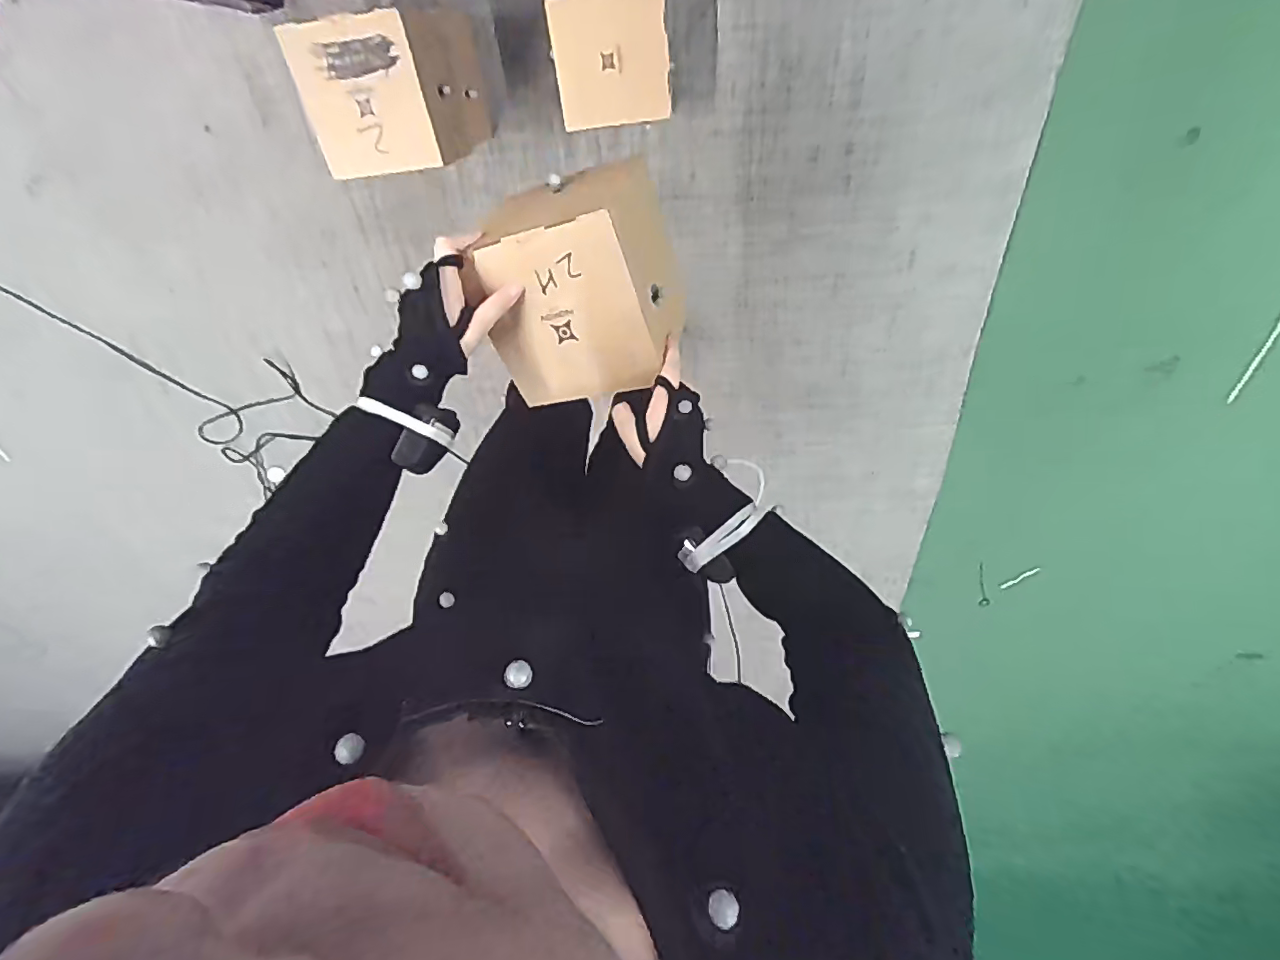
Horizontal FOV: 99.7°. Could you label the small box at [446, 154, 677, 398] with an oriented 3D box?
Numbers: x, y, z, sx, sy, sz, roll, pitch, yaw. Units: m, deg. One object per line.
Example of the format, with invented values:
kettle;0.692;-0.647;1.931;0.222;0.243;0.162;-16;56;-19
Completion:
small box;-0.066;-0.216;0.584;0.168;0.176;0.179;-5;133;20
